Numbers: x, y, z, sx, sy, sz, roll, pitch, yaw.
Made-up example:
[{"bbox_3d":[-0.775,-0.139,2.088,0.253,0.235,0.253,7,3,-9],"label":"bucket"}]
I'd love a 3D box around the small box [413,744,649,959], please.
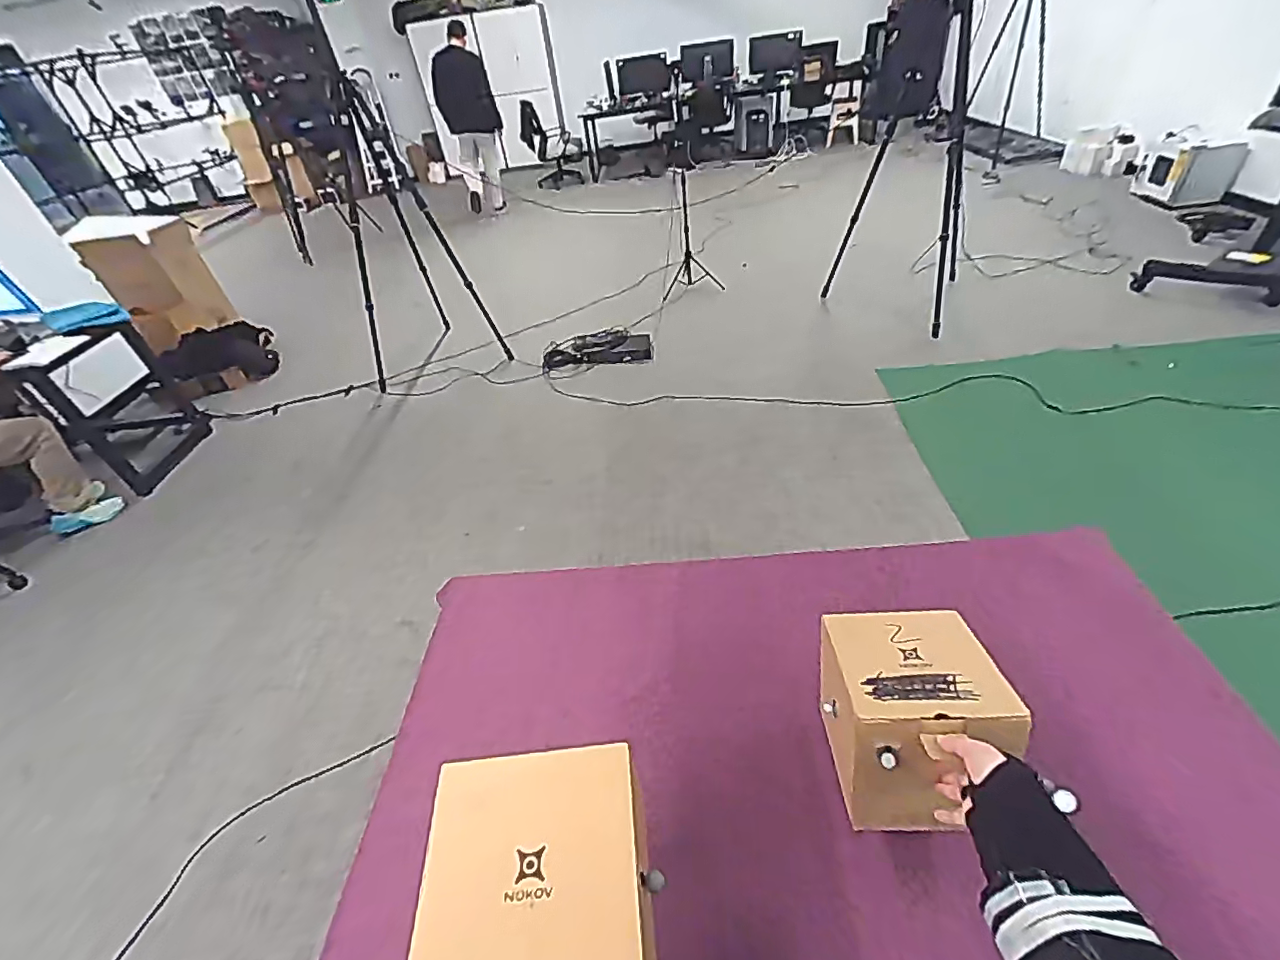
[{"bbox_3d":[-0.081,0.363,0.478,0.168,0.176,0.179,-7,44,-1],"label":"small box"}]
